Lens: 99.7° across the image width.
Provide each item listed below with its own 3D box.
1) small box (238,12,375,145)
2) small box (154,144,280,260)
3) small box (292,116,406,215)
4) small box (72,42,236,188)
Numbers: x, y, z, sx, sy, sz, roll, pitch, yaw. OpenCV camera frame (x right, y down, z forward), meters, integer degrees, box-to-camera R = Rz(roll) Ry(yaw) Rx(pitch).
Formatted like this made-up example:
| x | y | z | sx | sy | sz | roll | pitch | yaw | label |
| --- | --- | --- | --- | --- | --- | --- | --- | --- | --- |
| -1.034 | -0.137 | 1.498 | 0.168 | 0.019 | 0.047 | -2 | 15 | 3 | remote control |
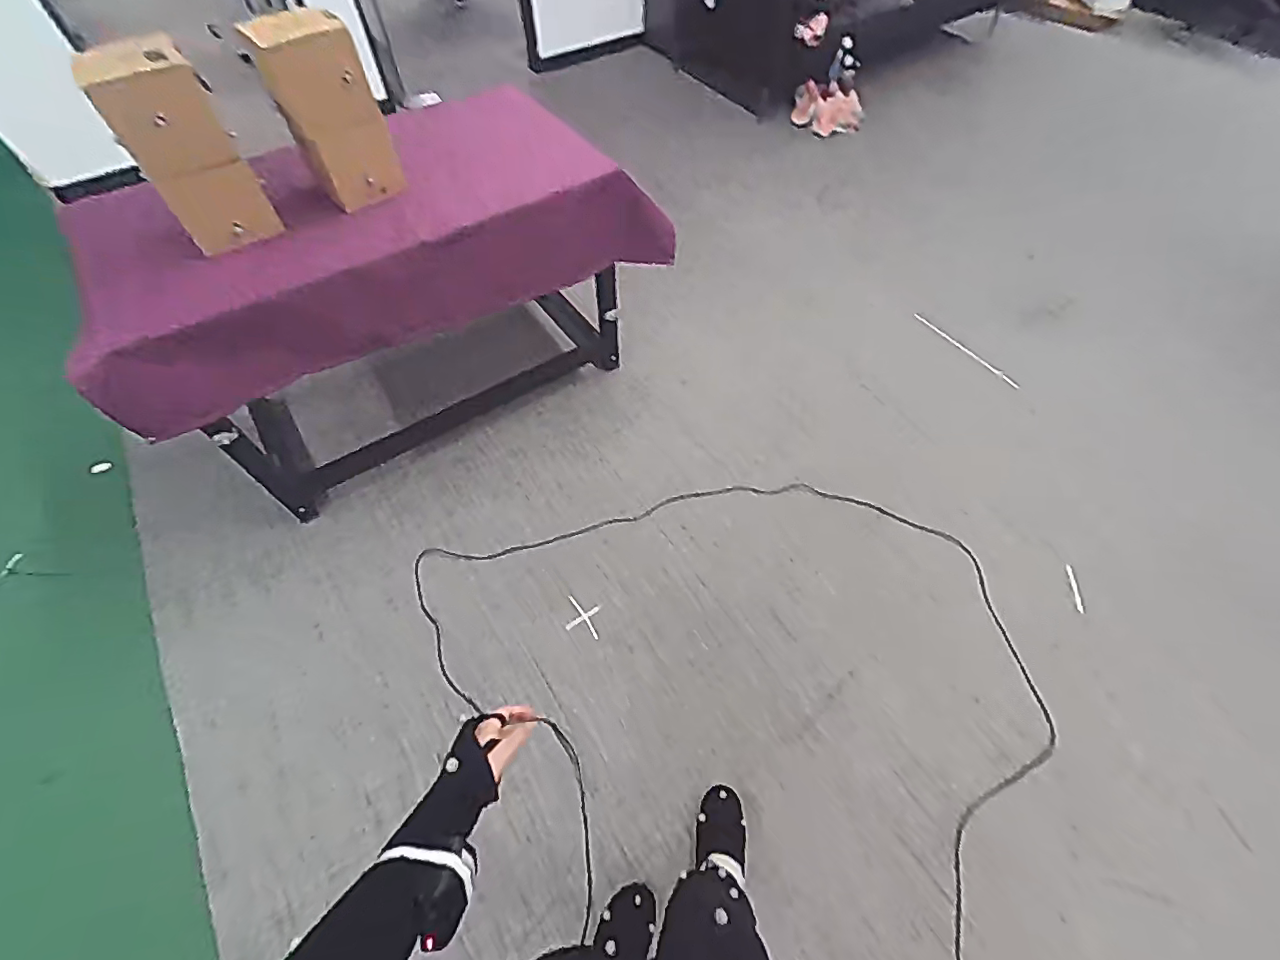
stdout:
| x | y | z | sx | sy | sz | roll | pitch | yaw | label |
| --- | --- | --- | --- | --- | --- | --- | --- | --- | --- |
| -0.702 | -0.860 | 1.162 | 0.179 | 0.176 | 0.168 | -36 | 63 | -20 | small box |
| -0.942 | -0.626 | 1.204 | 0.179 | 0.176 | 0.168 | -32 | 62 | -19 | small box |
| -0.702 | -0.775 | 1.301 | 0.168 | 0.176 | 0.179 | -37 | 65 | -21 | small box |
| -0.941 | -0.716 | 1.066 | 0.179 | 0.176 | 0.168 | -32 | 63 | -18 | small box |
